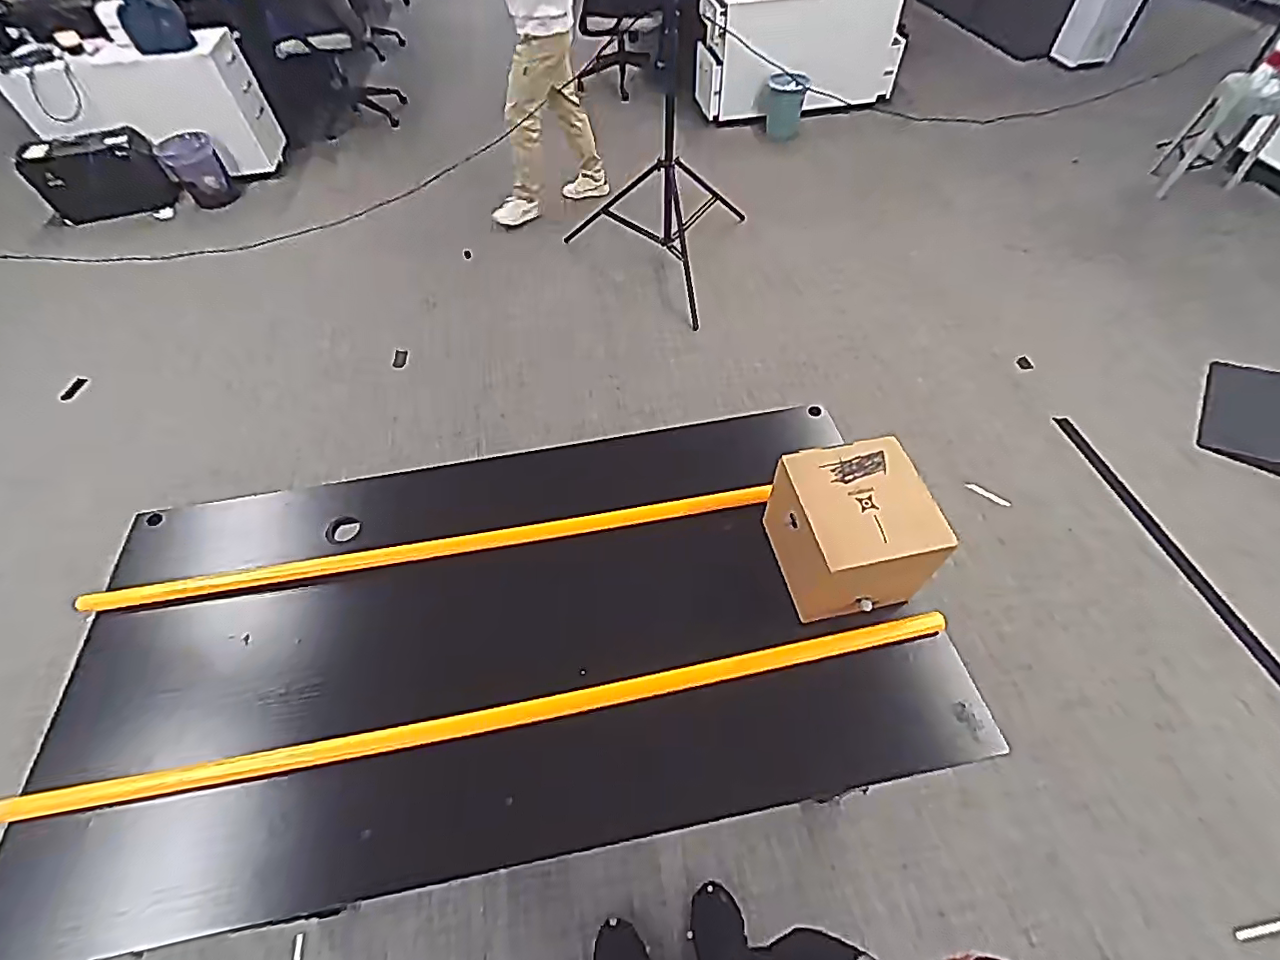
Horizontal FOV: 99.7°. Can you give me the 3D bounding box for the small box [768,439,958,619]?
[{"bbox_3d":[0.291,0.071,0.757,0.168,0.176,0.179,-10,55,-4],"label":"small box"}]
